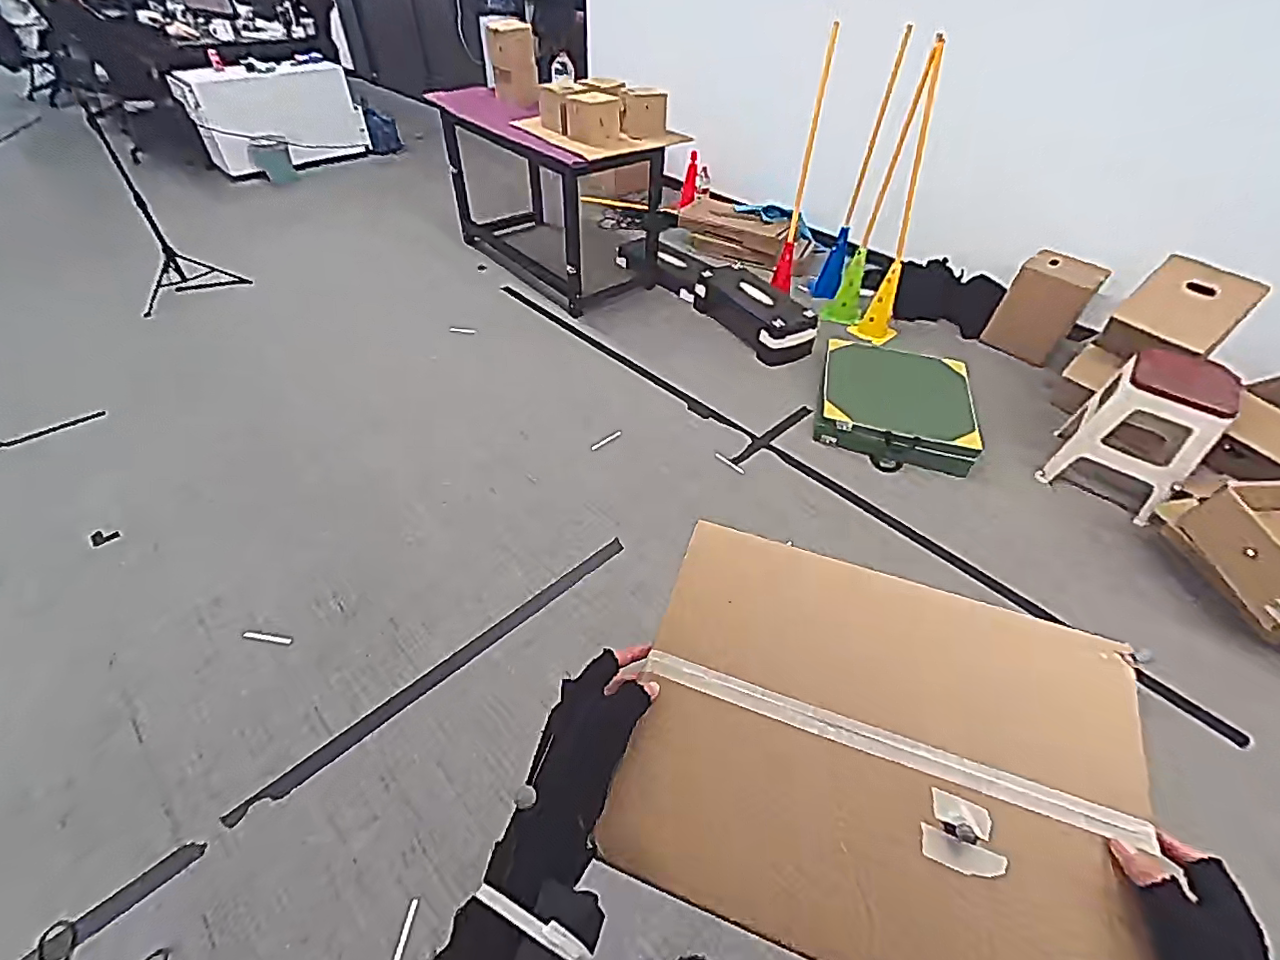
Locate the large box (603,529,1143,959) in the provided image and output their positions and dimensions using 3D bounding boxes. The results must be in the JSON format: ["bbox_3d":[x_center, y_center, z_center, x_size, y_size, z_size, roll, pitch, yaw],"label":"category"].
[{"bbox_3d":[0.208,0.304,0.598,0.408,0.320,0.320,16,60,13],"label":"large box"}]
